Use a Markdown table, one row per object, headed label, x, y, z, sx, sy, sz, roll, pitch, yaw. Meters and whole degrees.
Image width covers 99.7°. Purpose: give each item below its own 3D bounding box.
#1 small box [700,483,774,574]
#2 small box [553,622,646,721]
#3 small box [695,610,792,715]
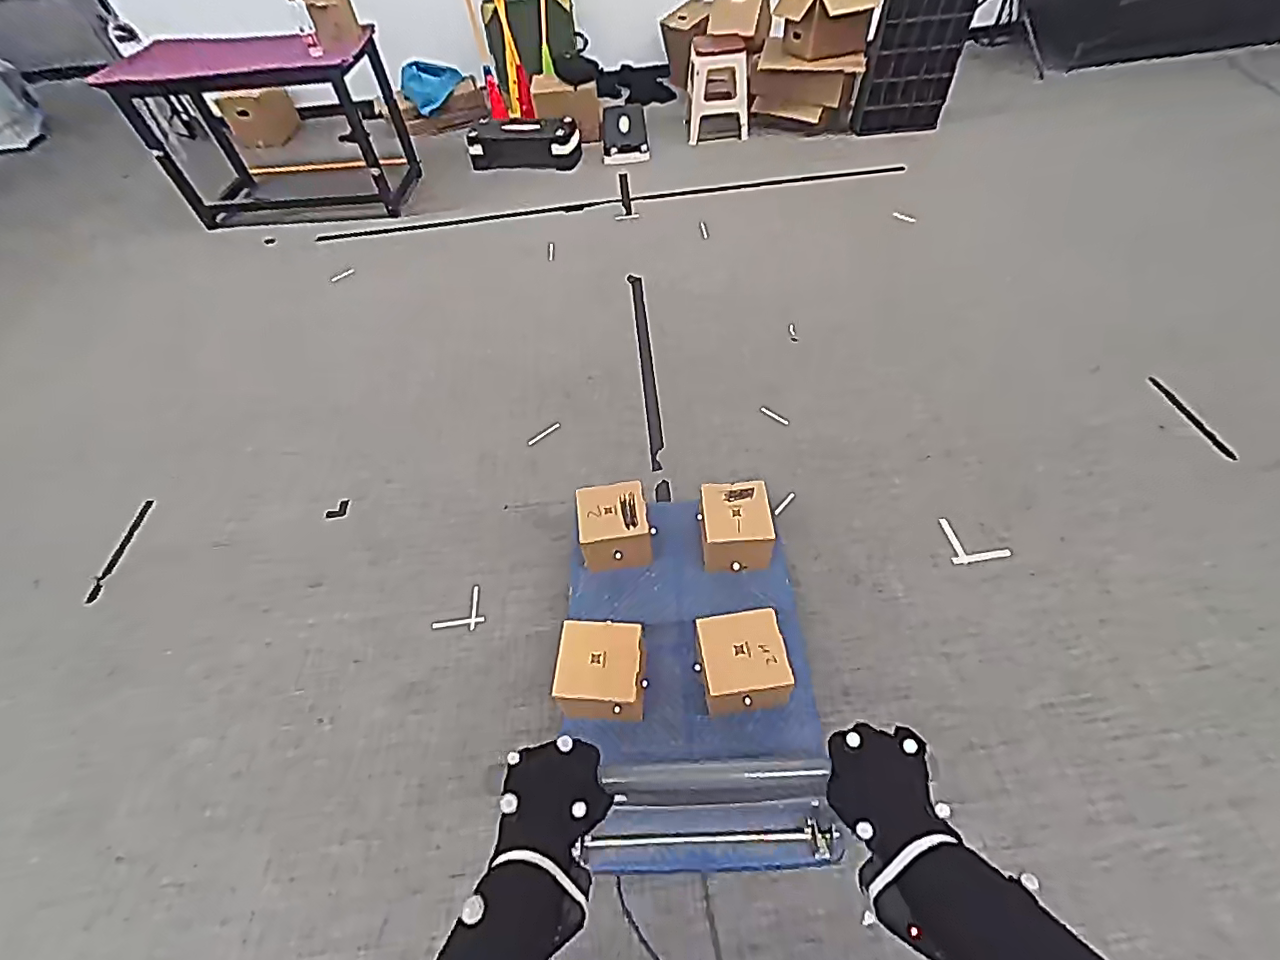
| label | x | y | z | sx | sy | sz | roll | pitch | yaw |
| --- | --- | --- | --- | --- | --- | --- | --- | --- | --- |
| small box | 0.246 | 0.129 | 1.416 | 0.168 | 0.176 | 0.179 | -4 | 54 | 3 |
| small box | -0.083 | 0.434 | 1.218 | 0.179 | 0.176 | 0.168 | 1 | 53 | 5 |
| small box | 0.223 | 0.410 | 1.204 | 0.179 | 0.176 | 0.168 | -8 | 53 | 0 |
